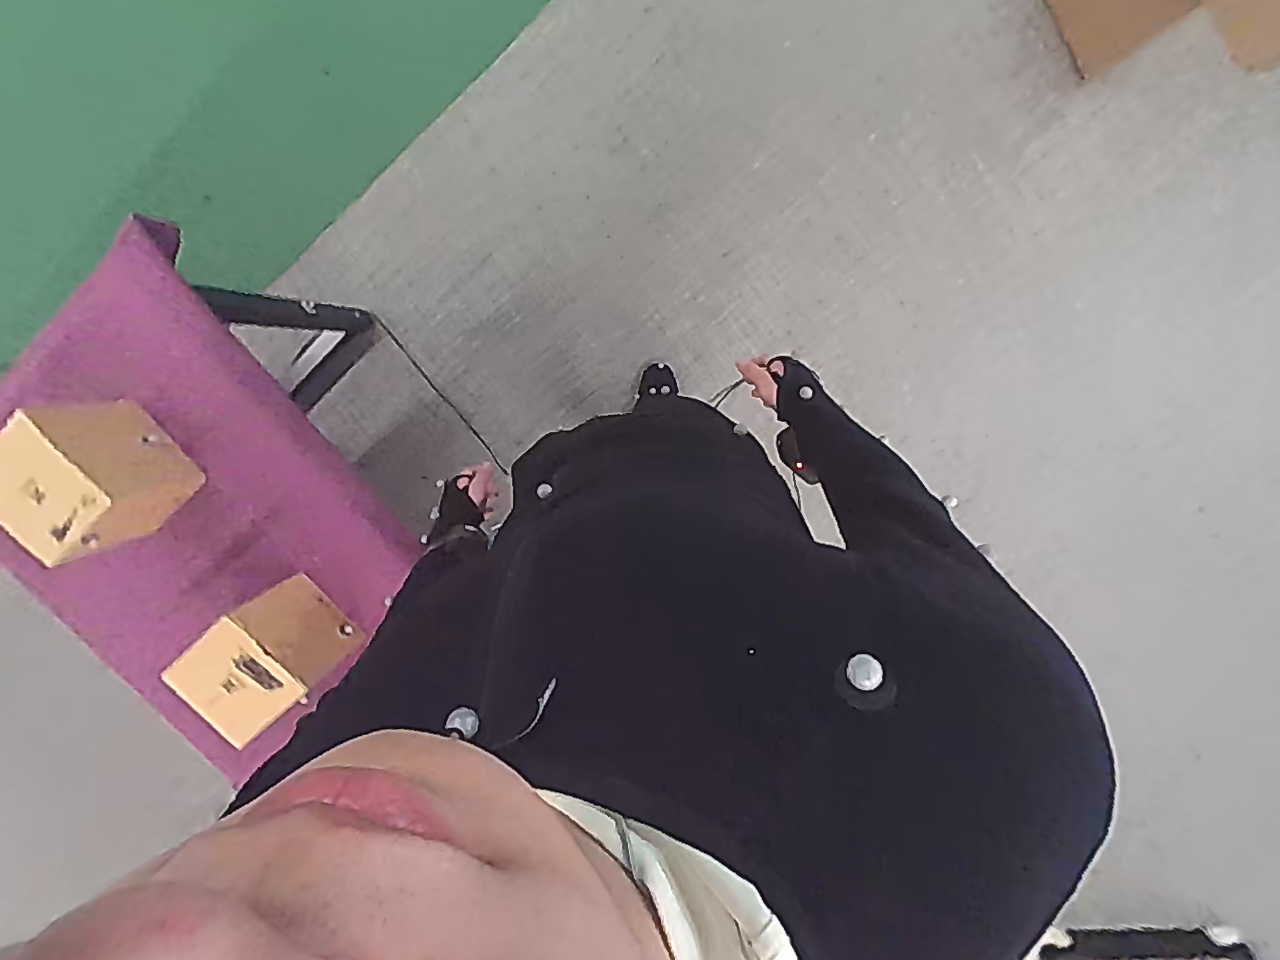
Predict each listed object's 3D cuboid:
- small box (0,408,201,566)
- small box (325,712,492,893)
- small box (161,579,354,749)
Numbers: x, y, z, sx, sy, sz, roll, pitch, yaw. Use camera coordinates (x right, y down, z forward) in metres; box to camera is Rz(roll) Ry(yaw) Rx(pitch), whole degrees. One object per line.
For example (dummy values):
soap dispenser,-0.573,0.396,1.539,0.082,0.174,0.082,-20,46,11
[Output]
small box,-0.870,0.000,0.856,0.168,0.176,0.179,-38,98,11
small box,-0.391,0.553,0.947,0.179,0.176,0.168,-41,97,11
small box,-0.620,0.296,0.906,0.179,0.176,0.168,-40,97,11
